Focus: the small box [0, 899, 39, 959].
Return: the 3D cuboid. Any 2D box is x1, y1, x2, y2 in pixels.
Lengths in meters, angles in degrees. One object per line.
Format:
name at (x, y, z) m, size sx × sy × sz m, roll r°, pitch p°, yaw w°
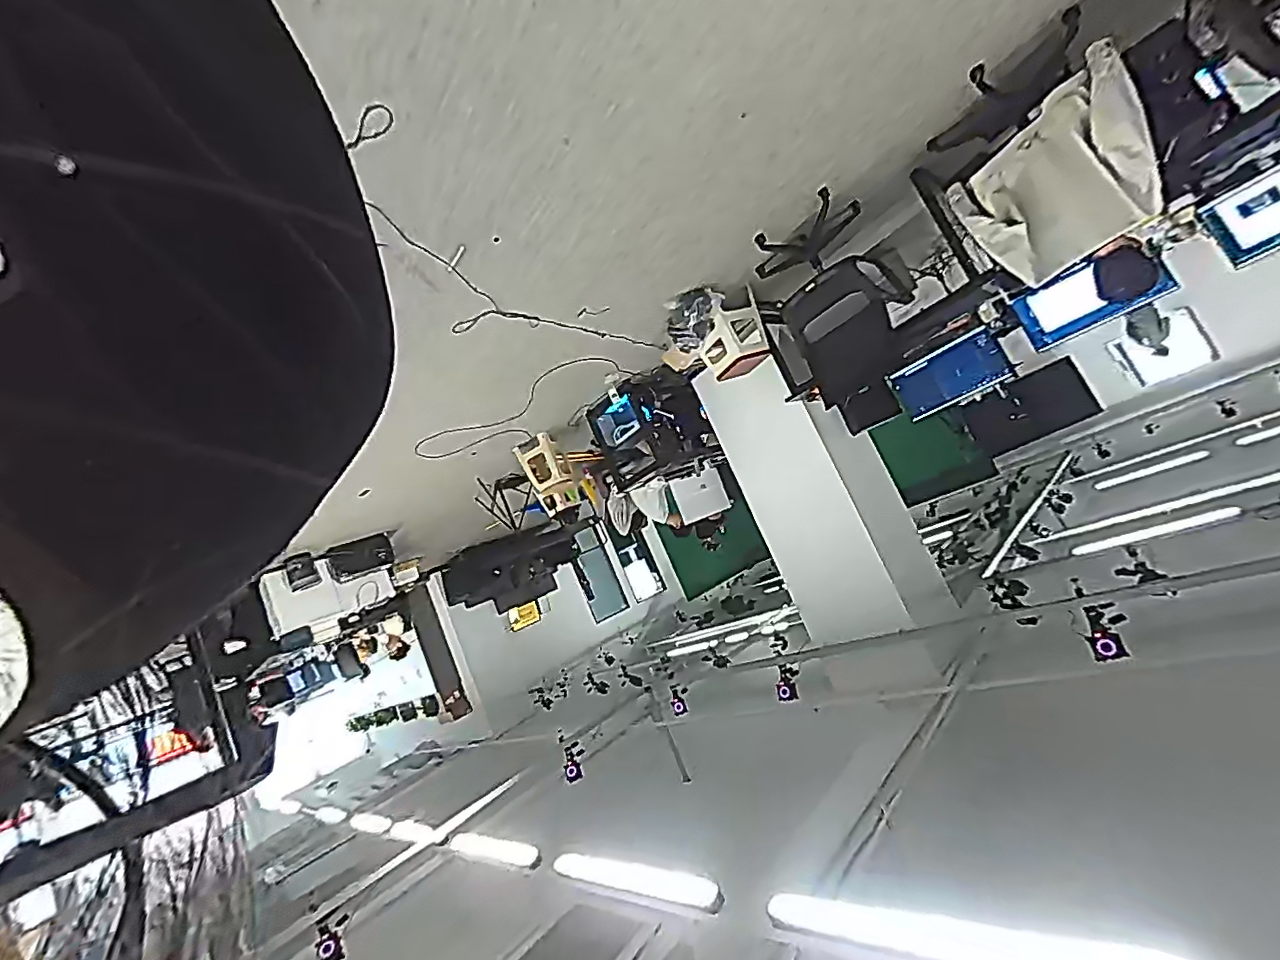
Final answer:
small box at (-1.553, 1.130, 1.262) m, size 0.168 × 0.176 × 0.179 m, roll -15°, pitch 170°, yaw -46°
